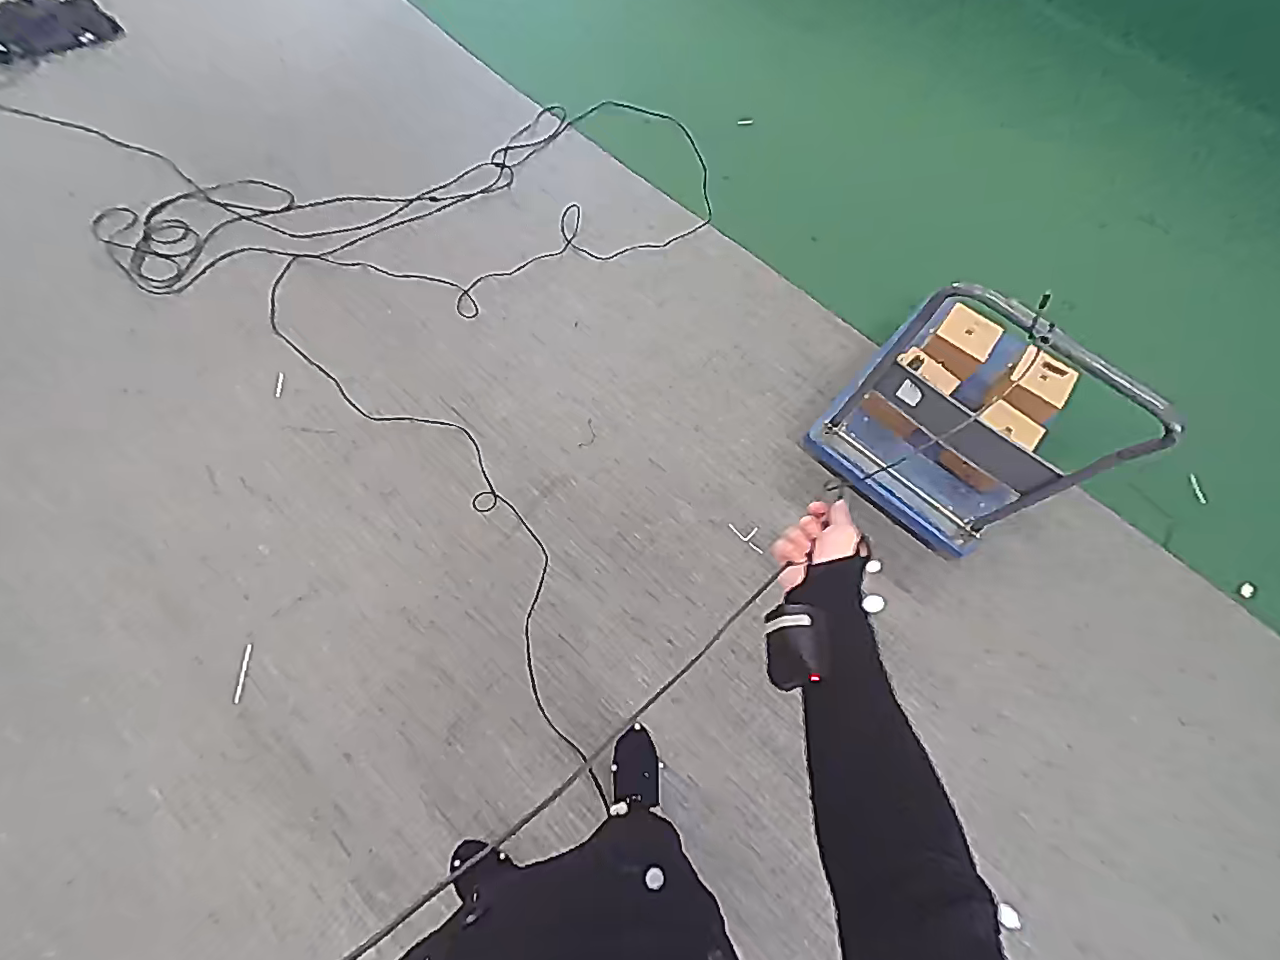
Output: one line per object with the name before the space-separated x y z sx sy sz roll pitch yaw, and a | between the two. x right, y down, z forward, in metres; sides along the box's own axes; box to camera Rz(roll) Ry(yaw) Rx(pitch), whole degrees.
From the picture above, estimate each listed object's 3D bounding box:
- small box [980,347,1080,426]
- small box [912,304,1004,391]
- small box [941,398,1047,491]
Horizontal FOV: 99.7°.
small box | 1.216 -0.274 1.697 0.168 0.176 0.179 37 68 12
small box | 1.018 -0.421 1.748 0.168 0.176 0.179 38 67 11
small box | 1.035 -0.100 1.596 0.168 0.176 0.179 42 68 13
